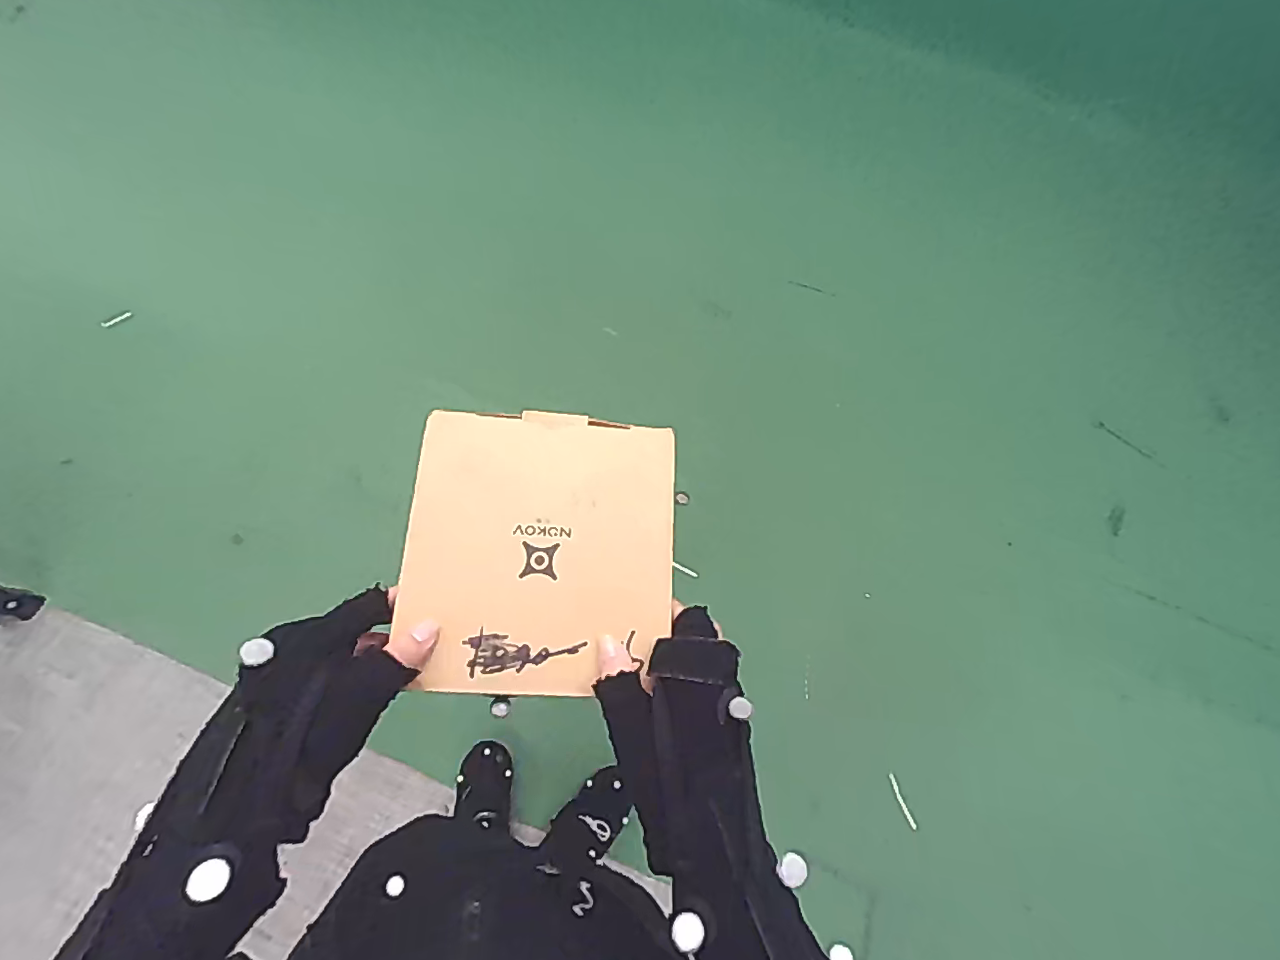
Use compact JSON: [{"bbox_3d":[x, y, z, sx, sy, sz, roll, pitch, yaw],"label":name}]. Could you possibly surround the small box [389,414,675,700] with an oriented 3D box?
[{"bbox_3d":[-0.070,0.068,0.420,0.168,0.176,0.179,4,72,-5],"label":"small box"}]
